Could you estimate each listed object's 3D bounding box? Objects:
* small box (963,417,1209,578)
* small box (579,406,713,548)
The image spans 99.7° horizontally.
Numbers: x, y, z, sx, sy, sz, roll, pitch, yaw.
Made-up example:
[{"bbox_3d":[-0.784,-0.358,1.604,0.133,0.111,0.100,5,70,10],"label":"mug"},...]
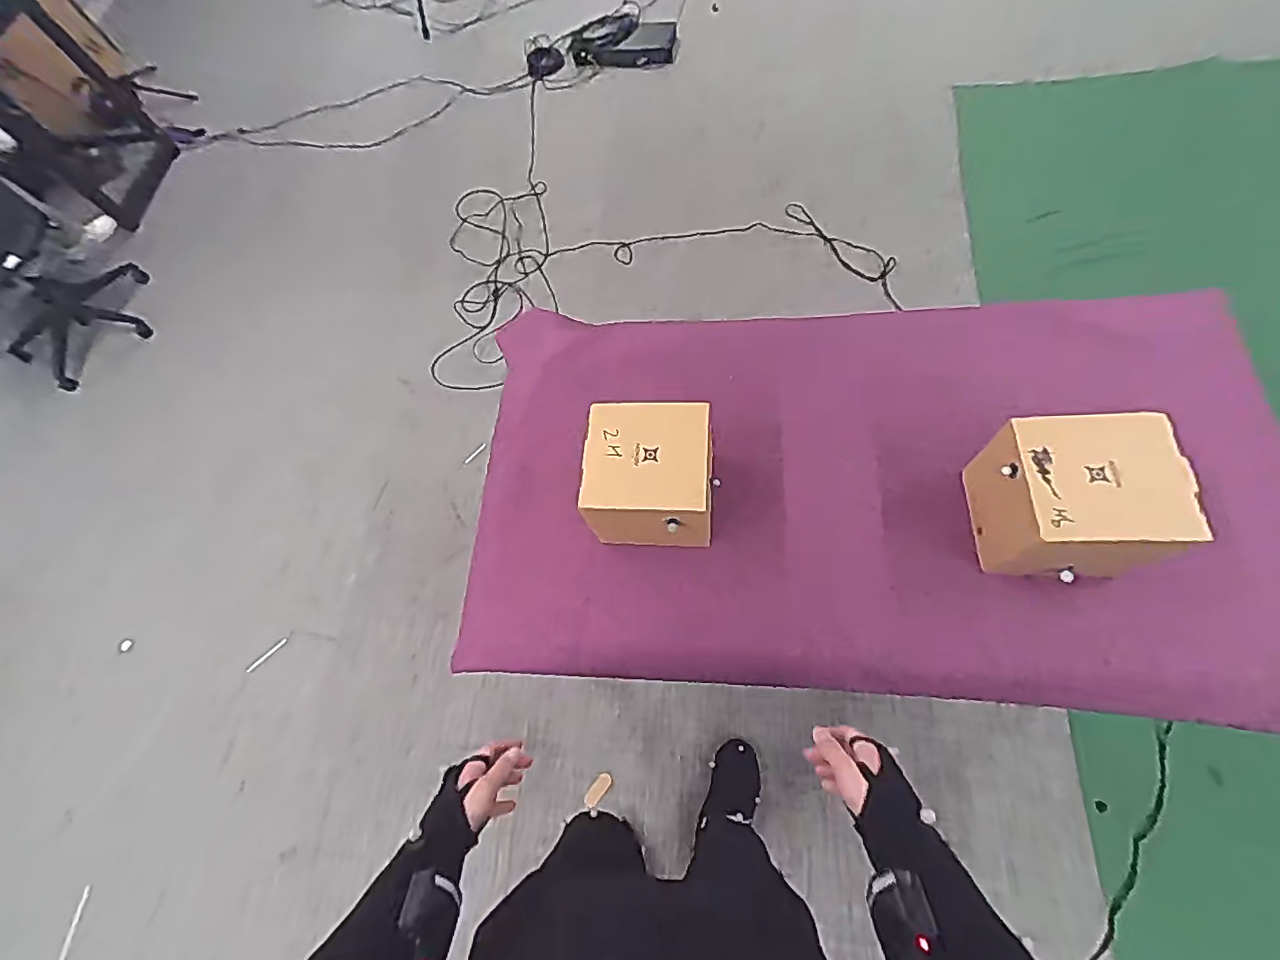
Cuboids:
[{"bbox_3d":[0.563,0.030,0.714,0.179,0.176,0.168,-1,66,10],"label":"small box"},{"bbox_3d":[0.020,0.001,0.823,0.179,0.176,0.168,1,67,10],"label":"small box"}]
